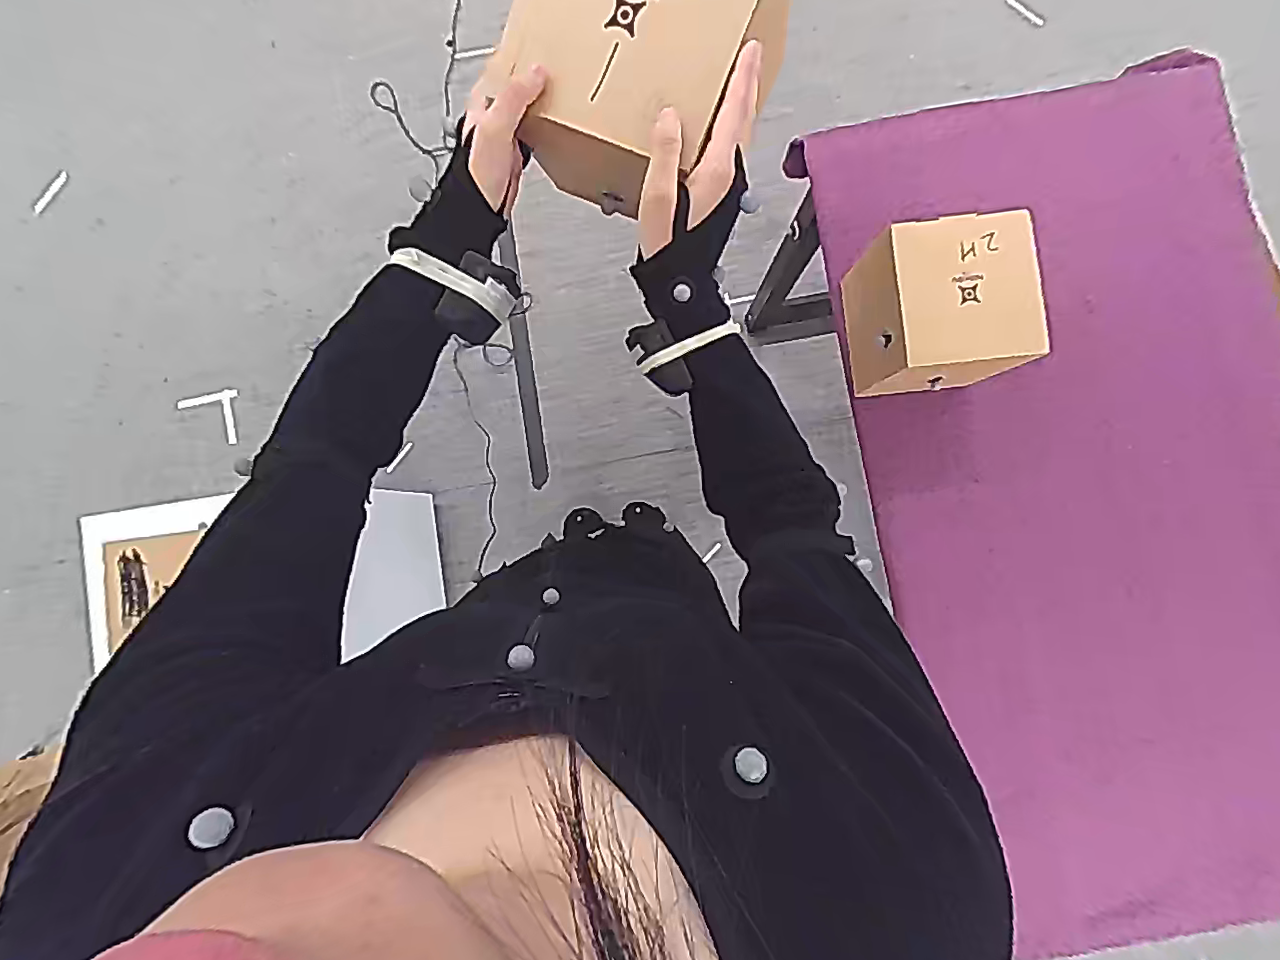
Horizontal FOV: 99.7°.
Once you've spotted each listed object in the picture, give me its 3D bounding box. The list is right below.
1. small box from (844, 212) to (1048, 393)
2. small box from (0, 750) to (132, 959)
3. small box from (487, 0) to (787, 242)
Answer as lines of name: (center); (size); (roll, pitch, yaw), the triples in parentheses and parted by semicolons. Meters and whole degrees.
small box: (0.383, -0.216, 0.707); (0.168, 0.176, 0.179); (-5, 86, 0)
small box: (-0.635, 0.377, 0.498); (0.179, 0.176, 0.168); (-10, 87, 0)
small box: (0.009, -0.328, 0.441); (0.168, 0.176, 0.179); (25, 100, 7)
